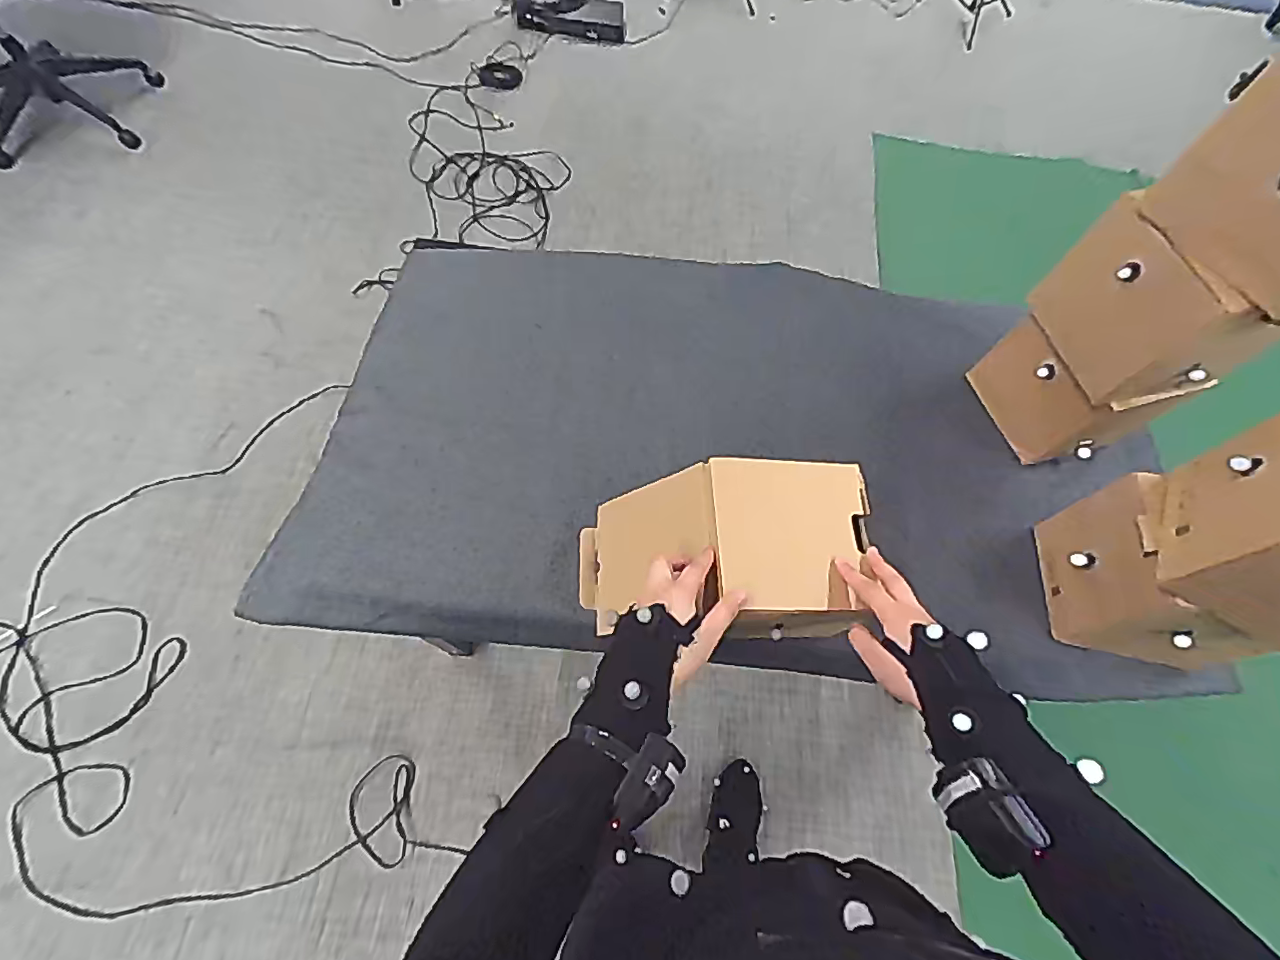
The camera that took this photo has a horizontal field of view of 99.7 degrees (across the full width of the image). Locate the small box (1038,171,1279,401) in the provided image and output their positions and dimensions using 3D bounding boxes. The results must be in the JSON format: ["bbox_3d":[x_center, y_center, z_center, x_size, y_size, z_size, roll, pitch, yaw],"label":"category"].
[{"bbox_3d":[0.622,-0.218,0.628,0.168,0.176,0.179,-11,66,-5],"label":"small box"}]

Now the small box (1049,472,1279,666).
[{"bbox_3d":[0.634,0.114,0.650,0.179,0.176,0.168,12,61,2],"label":"small box"}]

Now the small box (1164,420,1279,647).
[{"bbox_3d":[0.648,0.052,0.499,0.179,0.176,0.168,31,63,11],"label":"small box"}]

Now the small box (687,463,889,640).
[{"bbox_3d":[0.154,0.089,0.629,0.179,0.176,0.168,-1,66,-2],"label":"small box"}]

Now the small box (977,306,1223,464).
[{"bbox_3d":[0.636,-0.147,0.778,0.168,0.176,0.179,-14,68,-8],"label":"small box"}]
